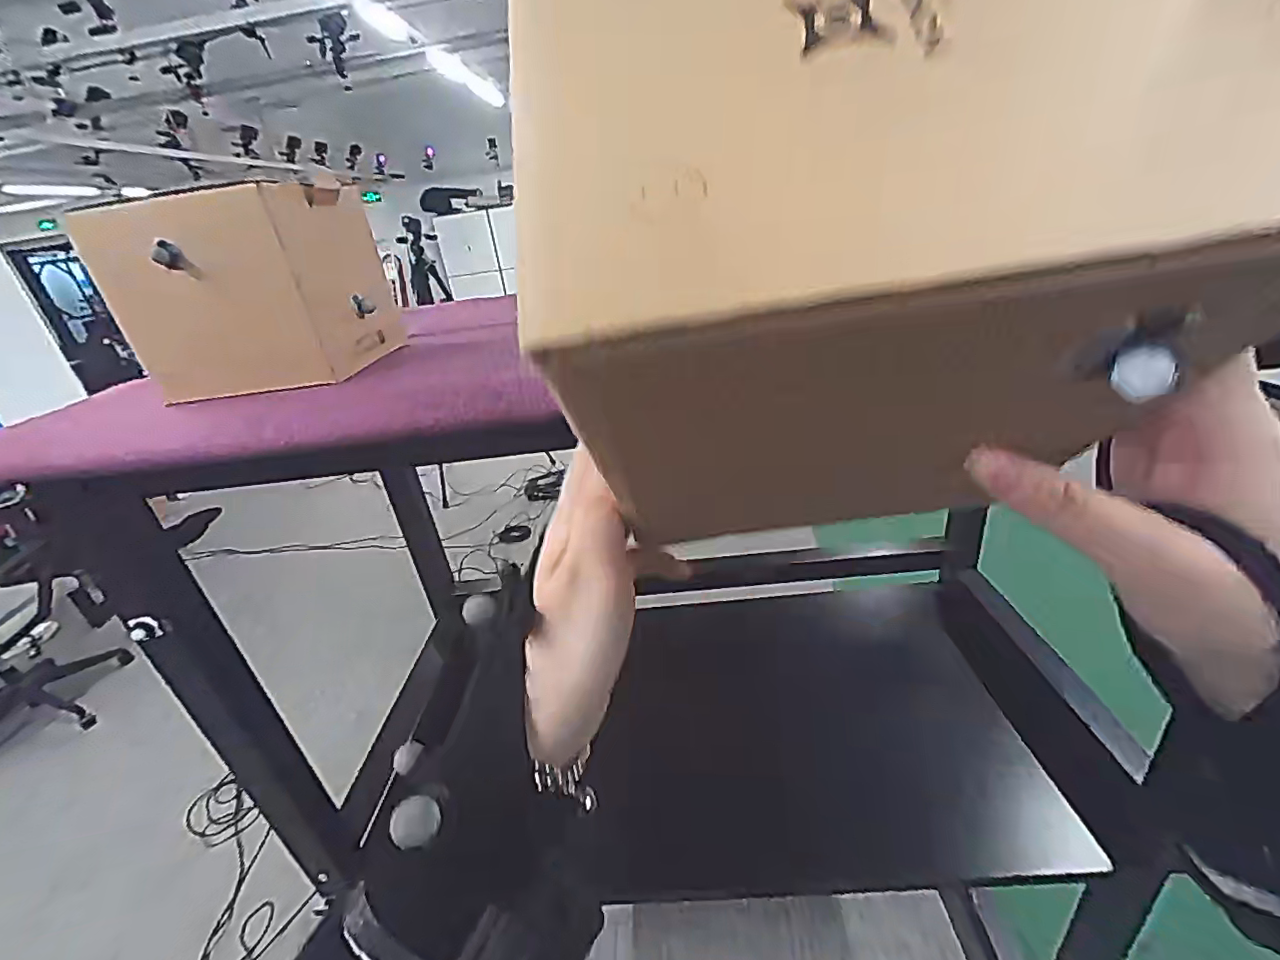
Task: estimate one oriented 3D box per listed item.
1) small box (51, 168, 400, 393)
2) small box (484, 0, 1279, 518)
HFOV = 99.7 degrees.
[{"bbox_3d":[-0.371,-0.191,0.527,0.179,0.176,0.168,-6,28,4],"label":"small box"},{"bbox_3d":[0.059,-0.093,0.197,0.179,0.176,0.168,-8,69,4],"label":"small box"}]
